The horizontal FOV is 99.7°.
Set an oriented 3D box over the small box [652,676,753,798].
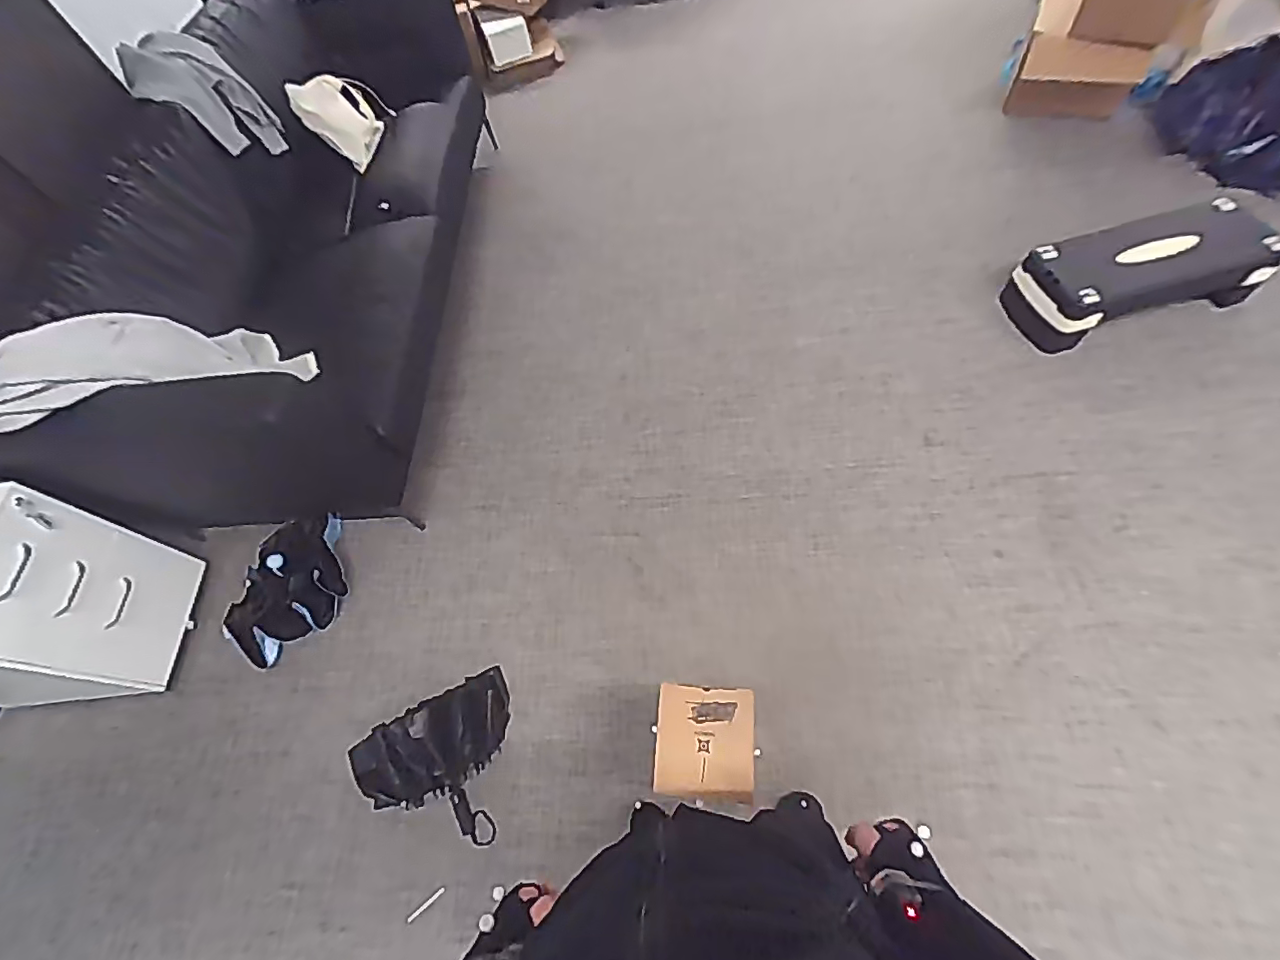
[{"bbox_3d":[0.118,0.471,0.994,0.168,0.176,0.179,2,63,9],"label":"small box"}]
